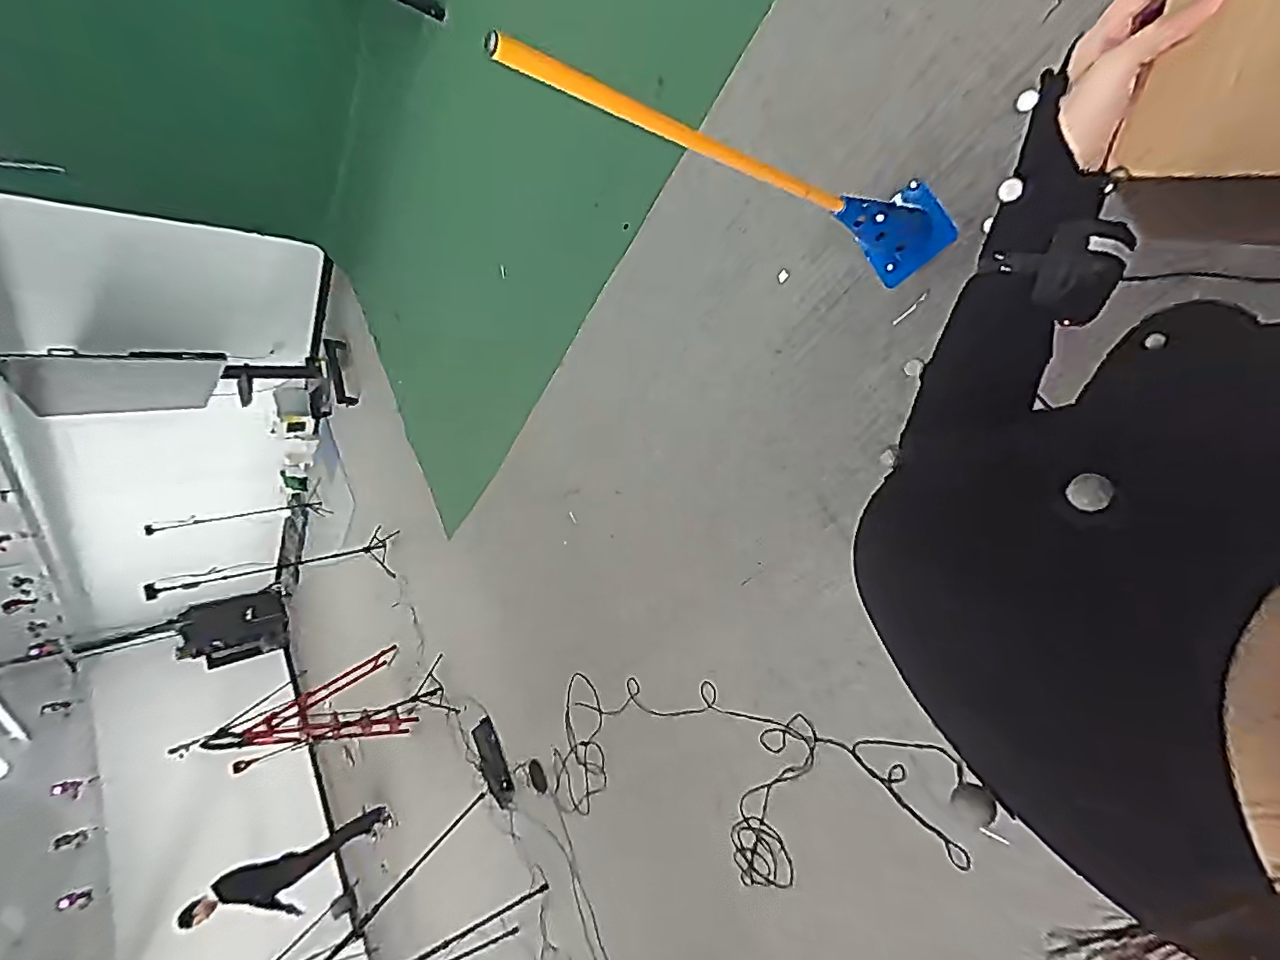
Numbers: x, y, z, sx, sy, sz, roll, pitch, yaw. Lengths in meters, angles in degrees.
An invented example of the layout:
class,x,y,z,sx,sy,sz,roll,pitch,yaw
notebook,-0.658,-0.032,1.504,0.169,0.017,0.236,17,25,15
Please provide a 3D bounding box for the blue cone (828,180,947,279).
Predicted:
class,x,y,z,sx,sy,sz,roll,pitch,yaw
blue cone,0.565,-0.633,1.306,0.193,0.380,0.192,-37,69,44

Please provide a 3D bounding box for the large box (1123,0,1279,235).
class,x,y,z,sx,sy,sz,roll,pitch,yaw
large box,0.597,-0.327,0.310,0.408,0.320,0.320,25,117,39
